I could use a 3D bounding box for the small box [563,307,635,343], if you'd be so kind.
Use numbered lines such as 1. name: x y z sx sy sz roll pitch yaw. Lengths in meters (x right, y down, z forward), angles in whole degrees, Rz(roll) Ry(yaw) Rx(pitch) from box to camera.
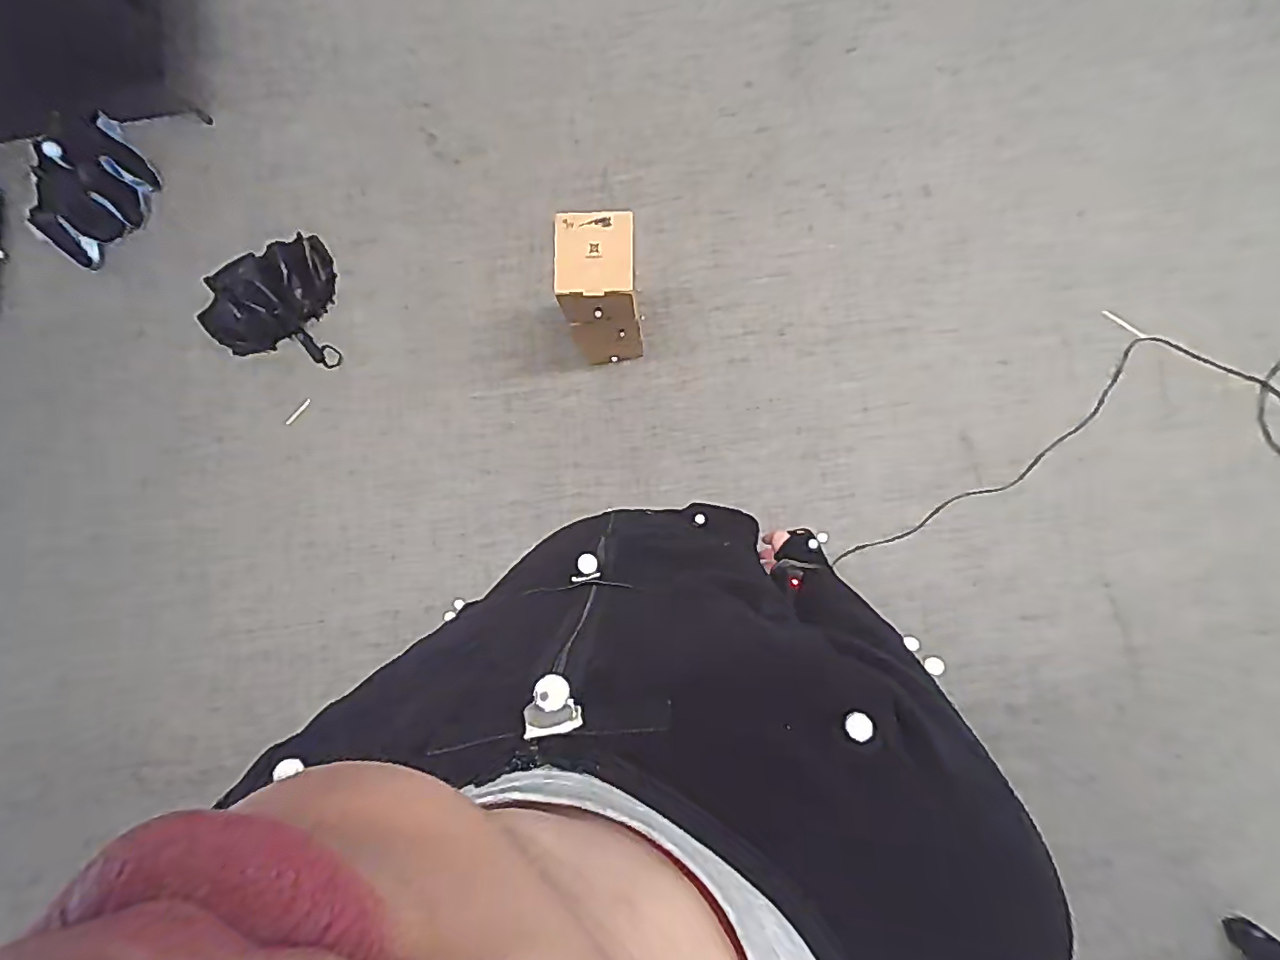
1. small box: -0.105 -0.453 1.353 0.168 0.176 0.179 -7 86 1

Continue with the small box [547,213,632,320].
1. small box: -0.105 -0.459 1.191 0.168 0.176 0.179 0 88 3

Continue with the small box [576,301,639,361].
1. small box: -0.097 -0.450 1.515 0.168 0.176 0.179 -8 88 2
